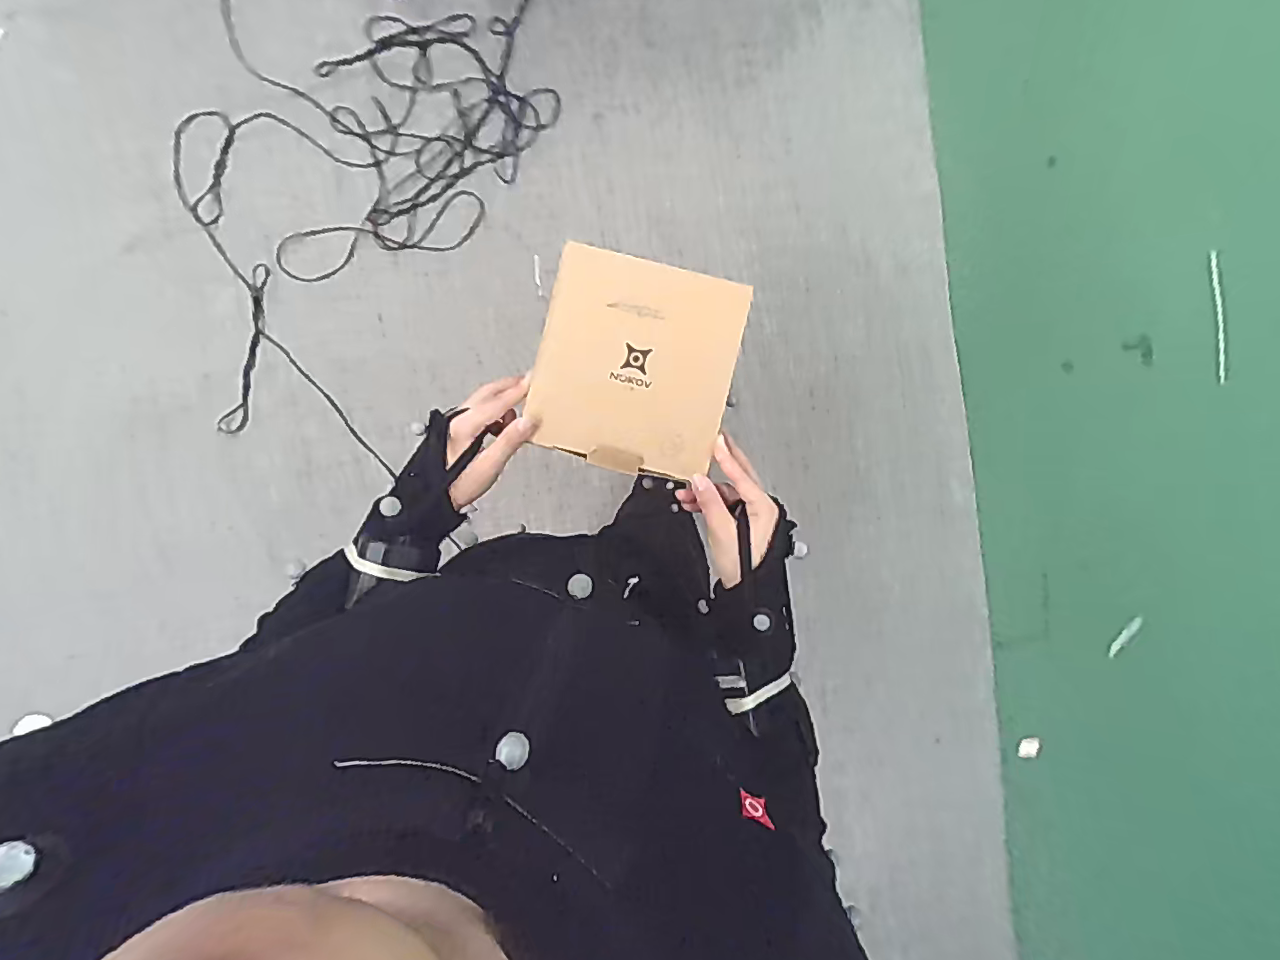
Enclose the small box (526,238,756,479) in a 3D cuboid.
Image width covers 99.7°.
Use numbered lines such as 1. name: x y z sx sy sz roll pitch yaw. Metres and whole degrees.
1. small box: 0.001 -0.103 0.535 0.168 0.176 0.179 12 90 -1
